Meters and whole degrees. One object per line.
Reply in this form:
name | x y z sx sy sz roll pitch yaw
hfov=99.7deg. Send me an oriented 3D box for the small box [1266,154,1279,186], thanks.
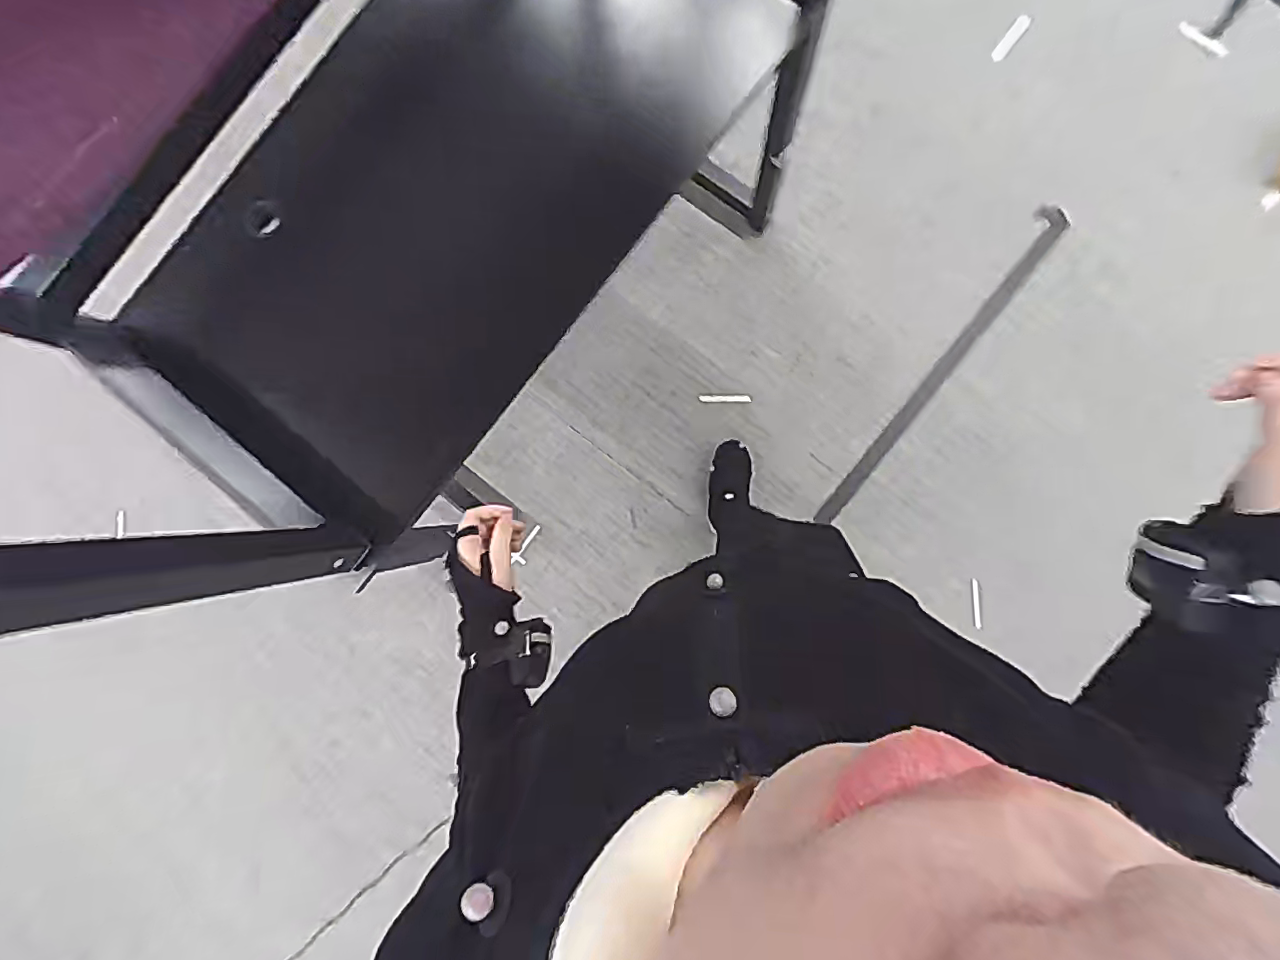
small box | 1.746 -0.812 1.331 0.179 0.176 0.168 37 90 5
